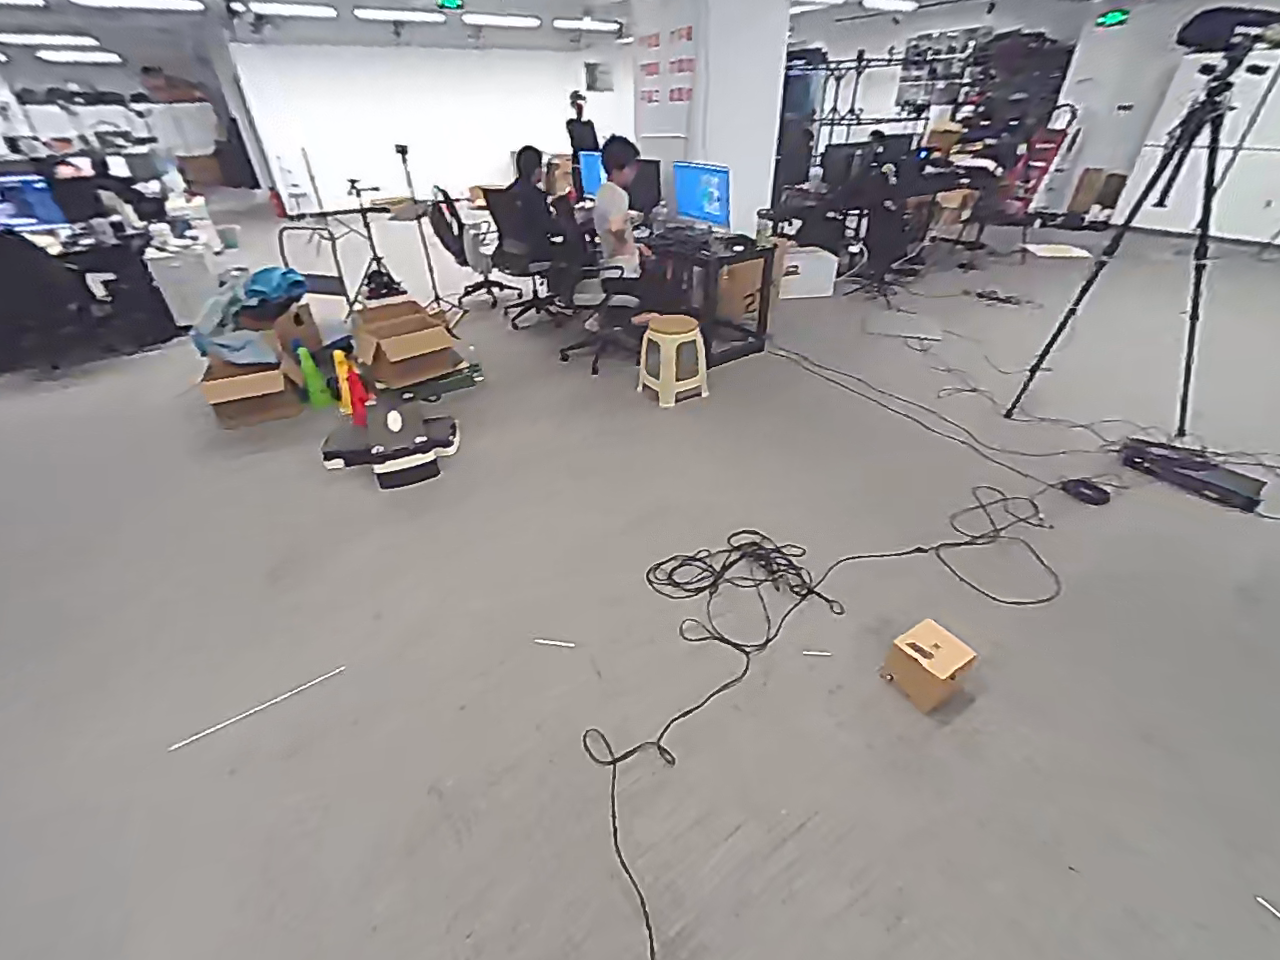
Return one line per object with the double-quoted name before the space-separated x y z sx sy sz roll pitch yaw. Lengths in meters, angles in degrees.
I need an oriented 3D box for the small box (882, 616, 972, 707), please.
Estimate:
"small box" 0.874 0.561 1.667 0.179 0.176 0.168 -20 38 -25
